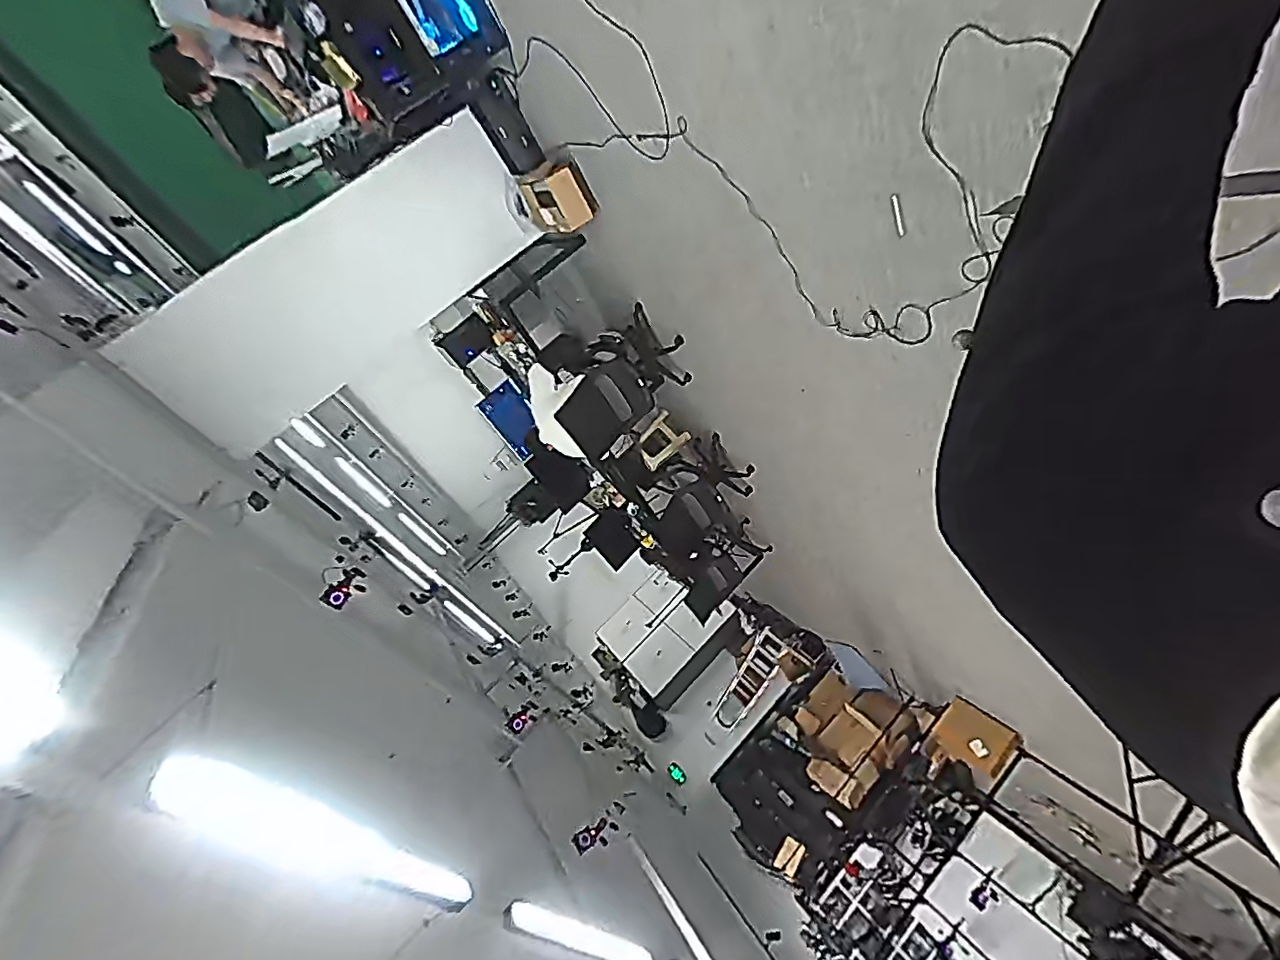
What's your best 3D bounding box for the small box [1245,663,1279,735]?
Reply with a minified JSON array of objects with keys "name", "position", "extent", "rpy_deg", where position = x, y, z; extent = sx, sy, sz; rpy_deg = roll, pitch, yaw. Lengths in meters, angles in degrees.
[{"name":"small box","position":[2.046,0.698,1.666],"extent":[0.179,0.176,0.168],"rpy_deg":[33,162,48]}]
